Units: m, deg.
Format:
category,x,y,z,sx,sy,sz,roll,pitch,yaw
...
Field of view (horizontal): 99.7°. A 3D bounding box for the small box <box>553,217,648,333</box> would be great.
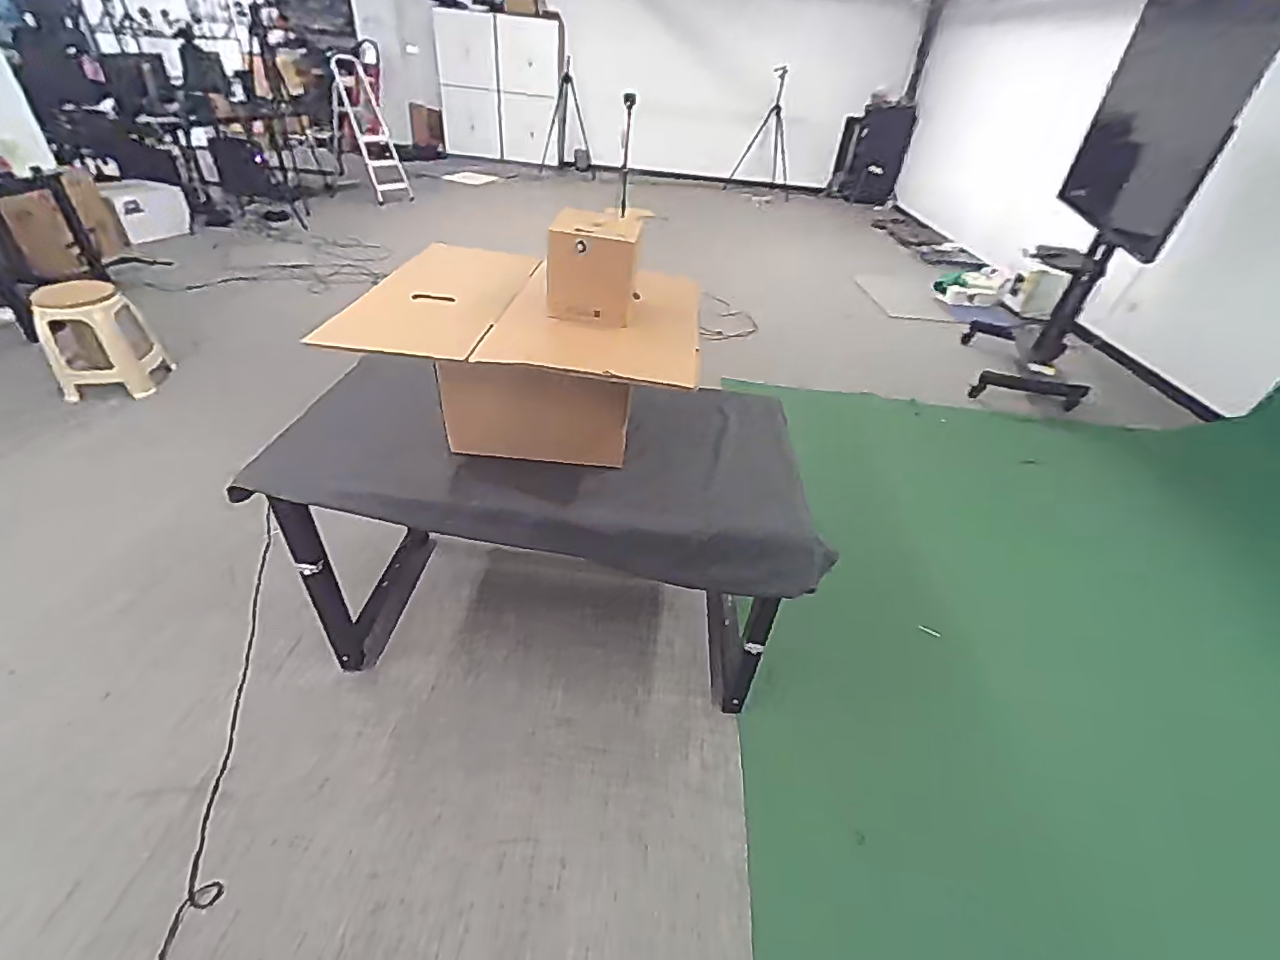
category,x,y,z,sx,sy,sz,roll,pitch,yaw
small box,-0.082,-0.422,1.110,0.168,0.176,0.179,8,37,1
